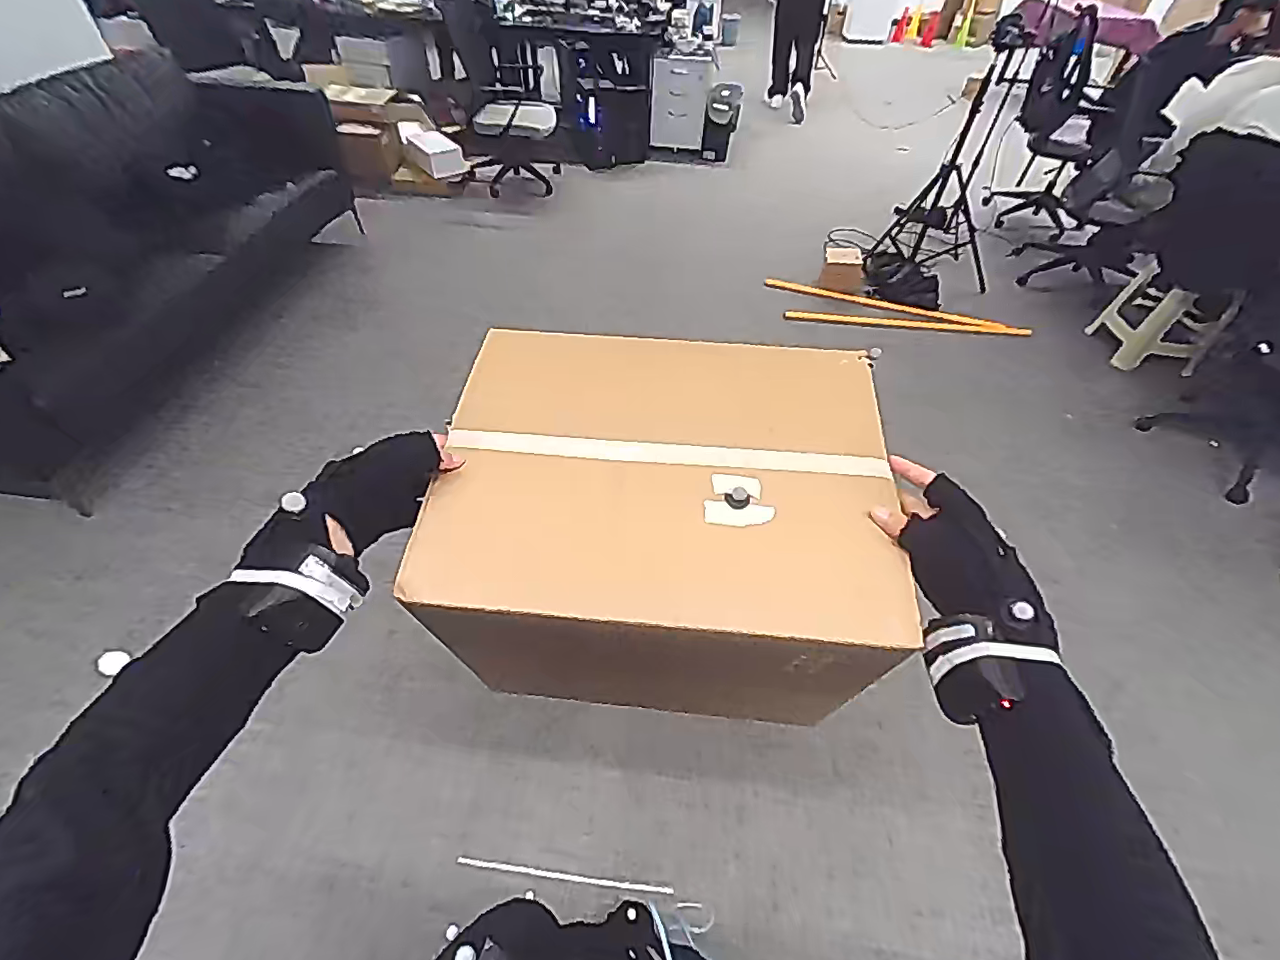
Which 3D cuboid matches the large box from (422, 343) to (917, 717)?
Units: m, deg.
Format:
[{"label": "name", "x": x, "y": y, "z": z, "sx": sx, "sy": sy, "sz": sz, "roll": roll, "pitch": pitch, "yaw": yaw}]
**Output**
[{"label": "large box", "x": 0.029, "y": 0.070, "z": 0.632, "sx": 0.408, "sy": 0.320, "sz": 0.320, "roll": 5, "pitch": 57, "yaw": 3}]
